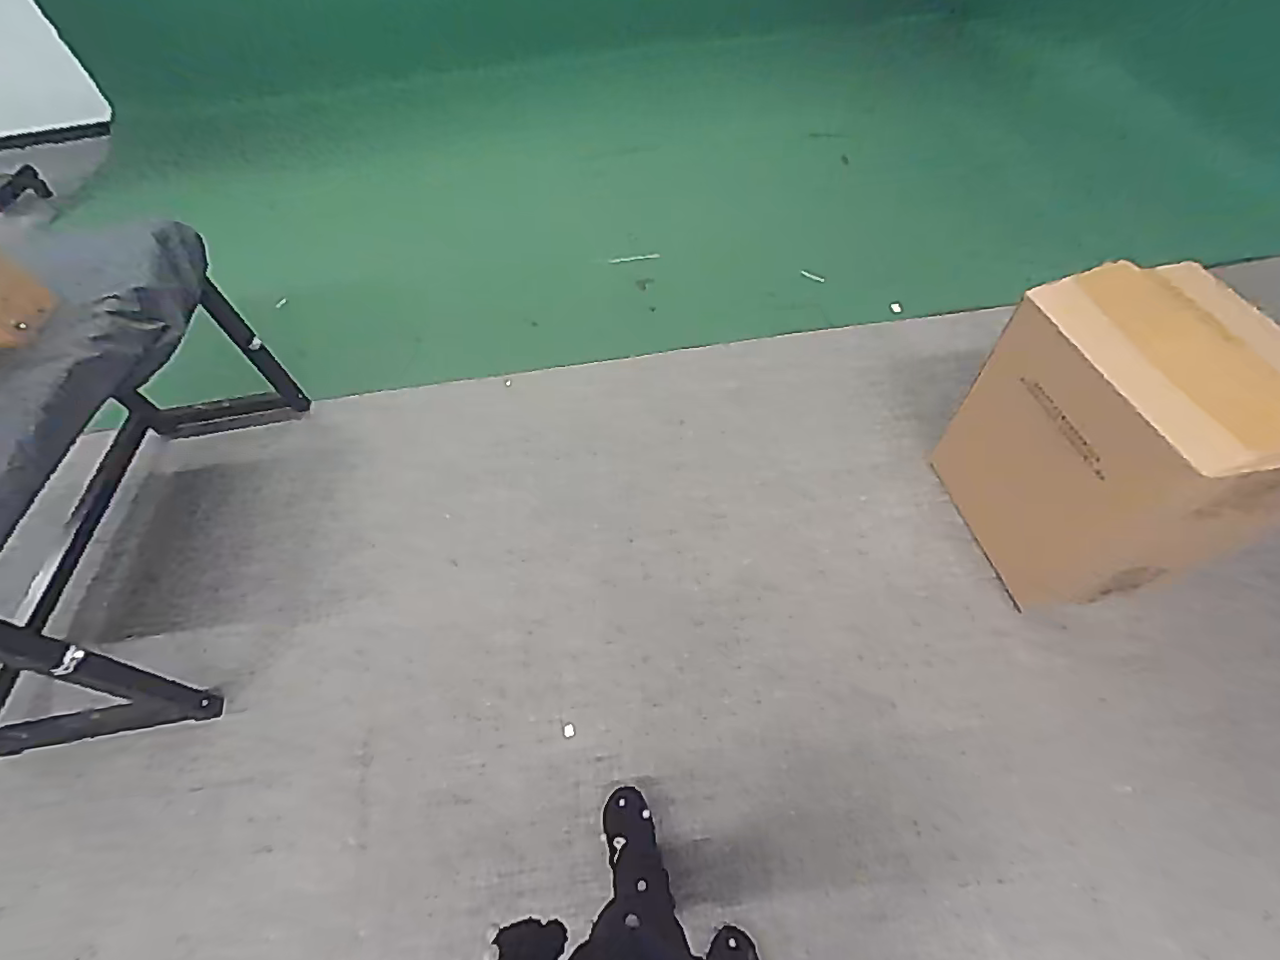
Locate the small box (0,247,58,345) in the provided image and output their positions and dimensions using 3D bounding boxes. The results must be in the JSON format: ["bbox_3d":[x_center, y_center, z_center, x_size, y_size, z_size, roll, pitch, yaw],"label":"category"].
[{"bbox_3d":[-1.485,-0.412,1.203,0.179,0.176,0.168,-8,54,1],"label":"small box"}]
